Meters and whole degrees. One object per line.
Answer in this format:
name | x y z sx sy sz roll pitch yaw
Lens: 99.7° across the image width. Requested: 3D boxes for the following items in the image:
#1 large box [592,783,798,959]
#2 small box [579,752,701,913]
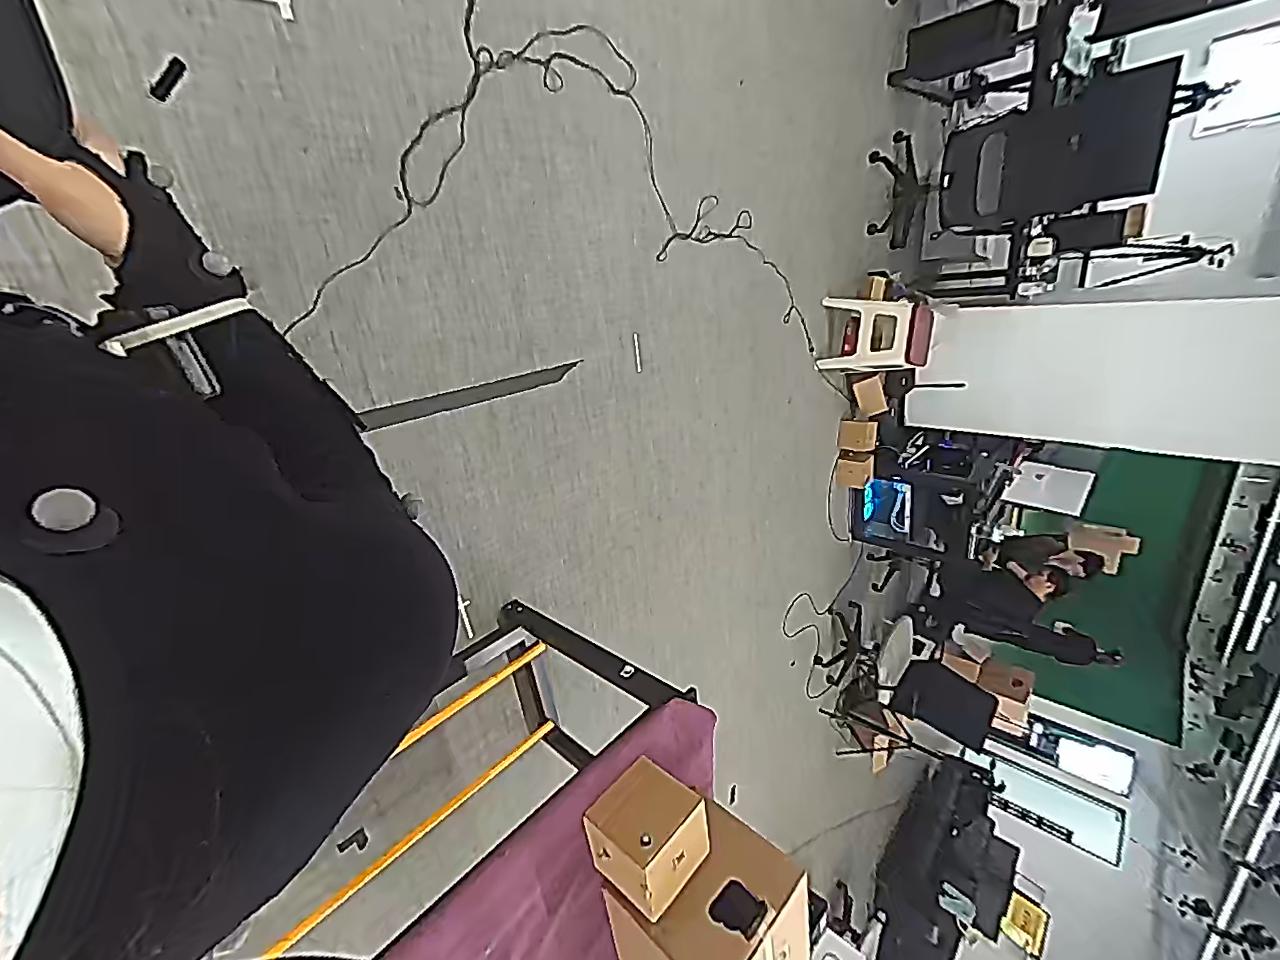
large box | 0.132 1.000 1.211 0.320 0.320 0.408 -27 117 -39
small box | 0.003 0.699 1.094 0.179 0.176 0.168 -29 122 -39
